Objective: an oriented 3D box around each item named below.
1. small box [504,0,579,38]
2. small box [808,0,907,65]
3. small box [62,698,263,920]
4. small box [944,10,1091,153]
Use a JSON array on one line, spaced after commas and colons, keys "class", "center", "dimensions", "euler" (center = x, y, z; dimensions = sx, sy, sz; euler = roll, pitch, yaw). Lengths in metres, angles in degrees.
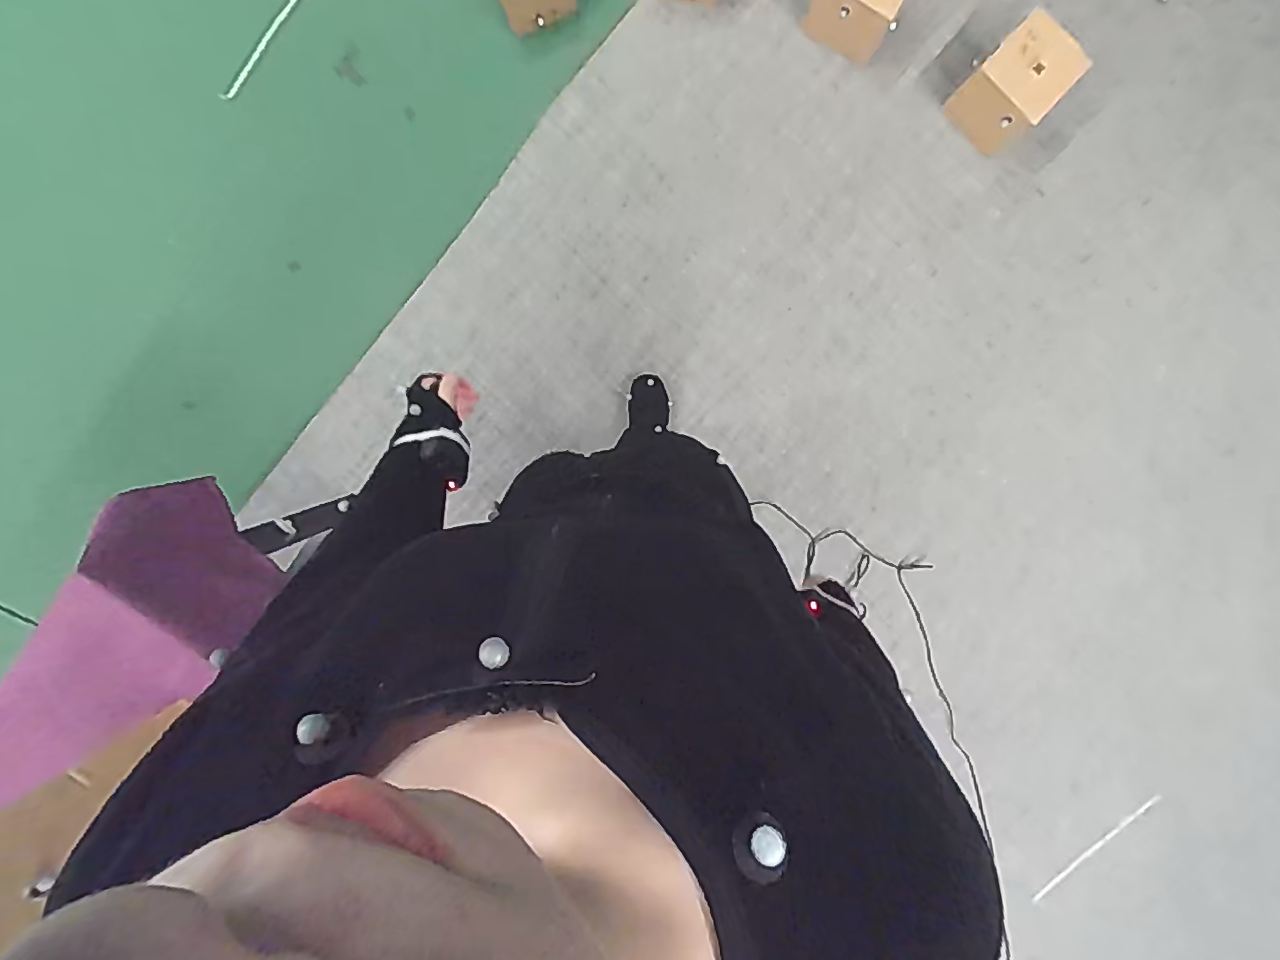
[{"class": "small box", "center": [-0.255, -1.180, 1.236], "dimensions": [0.168, 0.176, 0.179], "euler": [-23, 97, 6]}, {"class": "small box", "center": [0.507, -1.093, 1.215], "dimensions": [0.179, 0.176, 0.168], "euler": [30, 99, -3]}, {"class": "small box", "center": [-0.692, 0.455, 0.768], "dimensions": [0.168, 0.176, 0.179], "euler": [37, 98, -3]}, {"class": "small box", "center": [0.848, -0.887, 1.232], "dimensions": [0.179, 0.176, 0.168], "euler": [43, 97, -4]}]
